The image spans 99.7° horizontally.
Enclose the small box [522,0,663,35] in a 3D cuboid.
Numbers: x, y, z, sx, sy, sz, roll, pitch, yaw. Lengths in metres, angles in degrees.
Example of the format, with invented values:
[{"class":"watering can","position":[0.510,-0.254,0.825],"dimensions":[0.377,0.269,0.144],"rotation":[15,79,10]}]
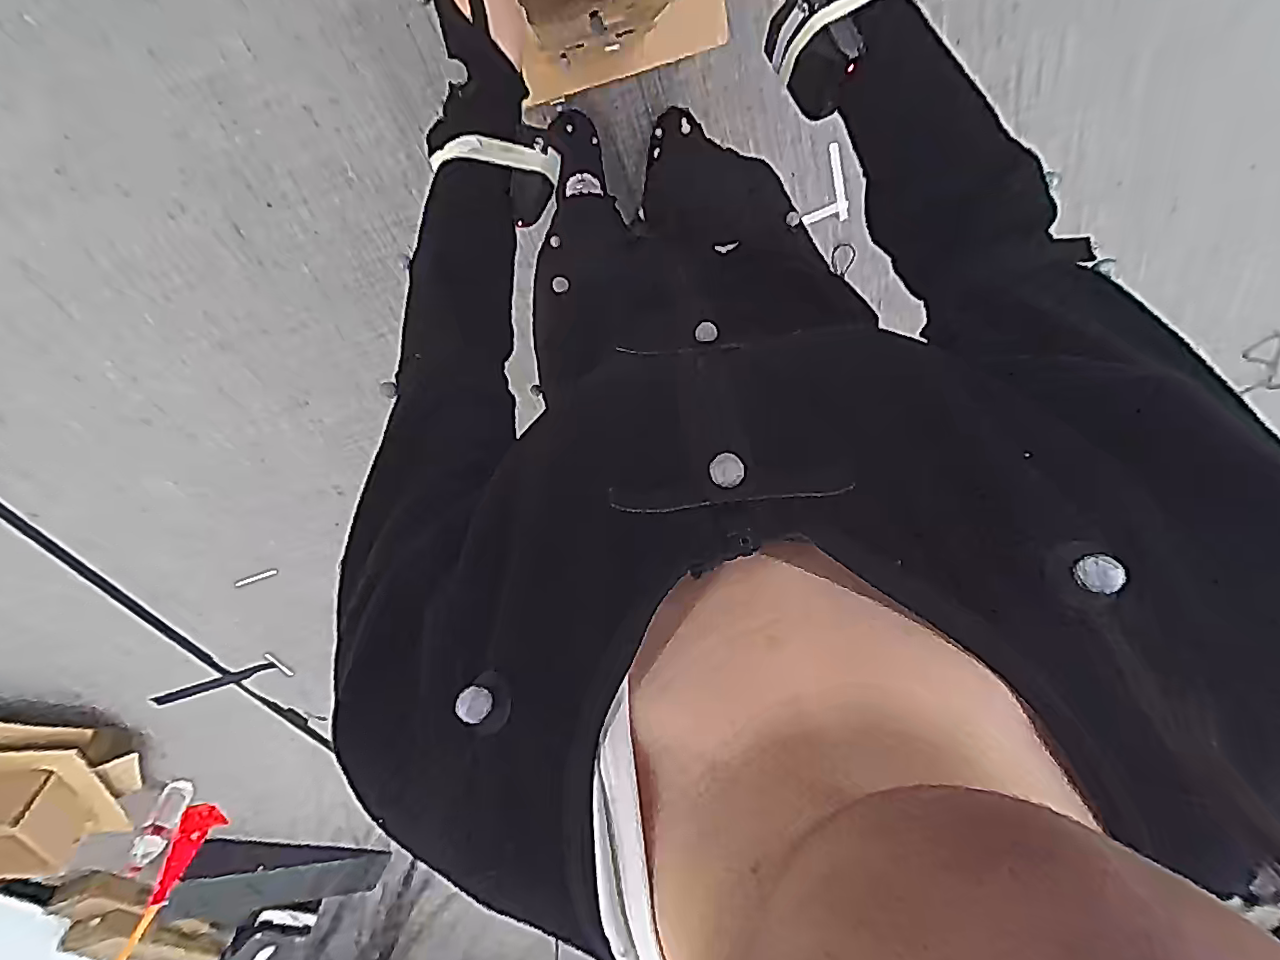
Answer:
[{"class":"small box","position":[-0.045,-0.517,0.467],"dimensions":[0.168,0.176,0.179],"rotation":[-17,124,4]}]

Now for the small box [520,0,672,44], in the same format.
[{"class":"small box","position":[-0.068,-0.611,0.599],"dimensions":[0.168,0.176,0.179],"rotation":[-15,126,2]}]
